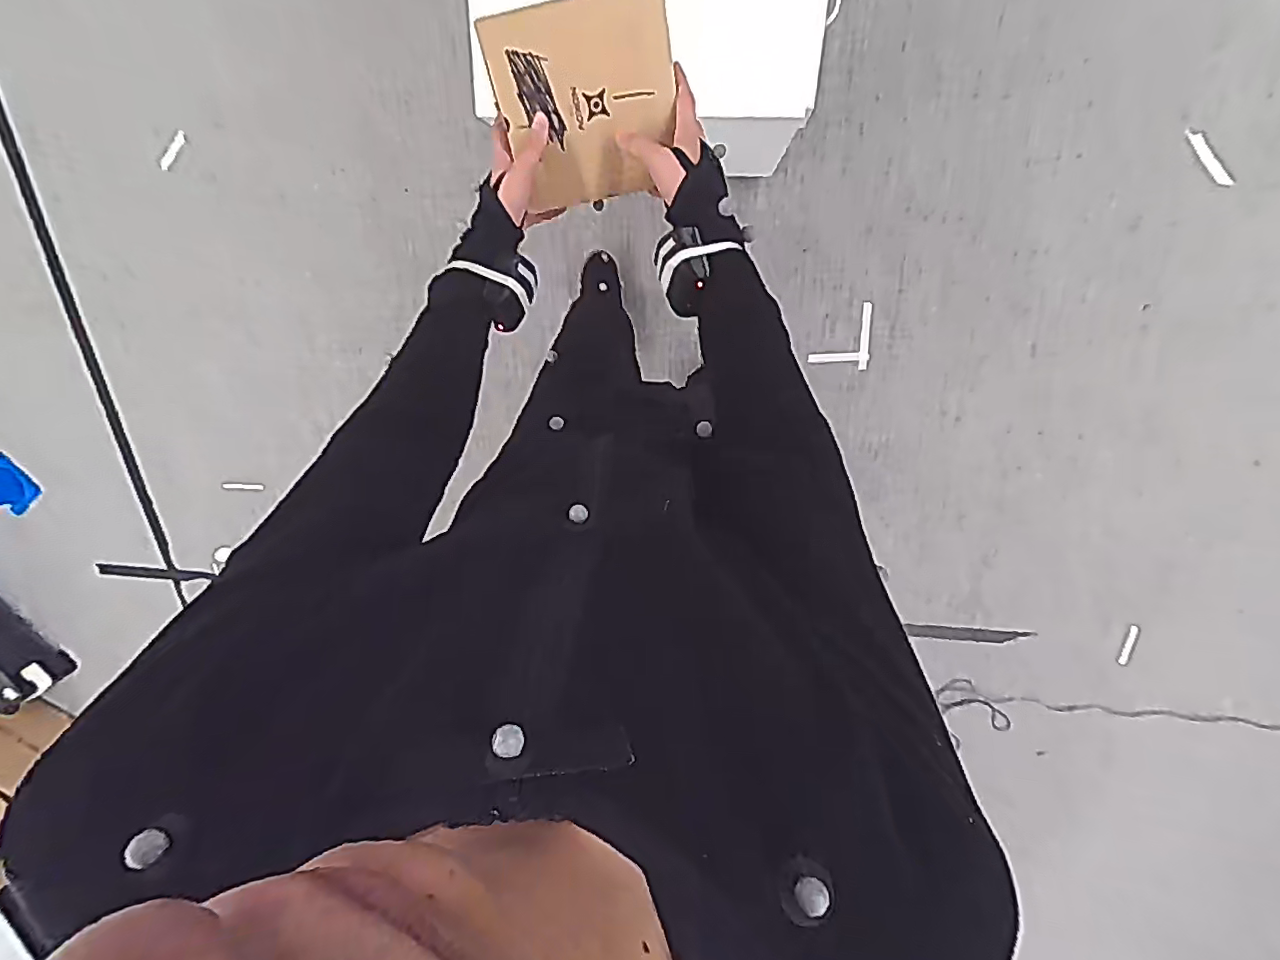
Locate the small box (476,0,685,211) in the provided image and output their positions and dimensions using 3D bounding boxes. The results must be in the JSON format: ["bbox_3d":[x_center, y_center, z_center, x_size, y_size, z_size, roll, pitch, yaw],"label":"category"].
[{"bbox_3d":[-0.052,-0.408,0.592,0.179,0.176,0.168,-10,123,5],"label":"small box"}]
